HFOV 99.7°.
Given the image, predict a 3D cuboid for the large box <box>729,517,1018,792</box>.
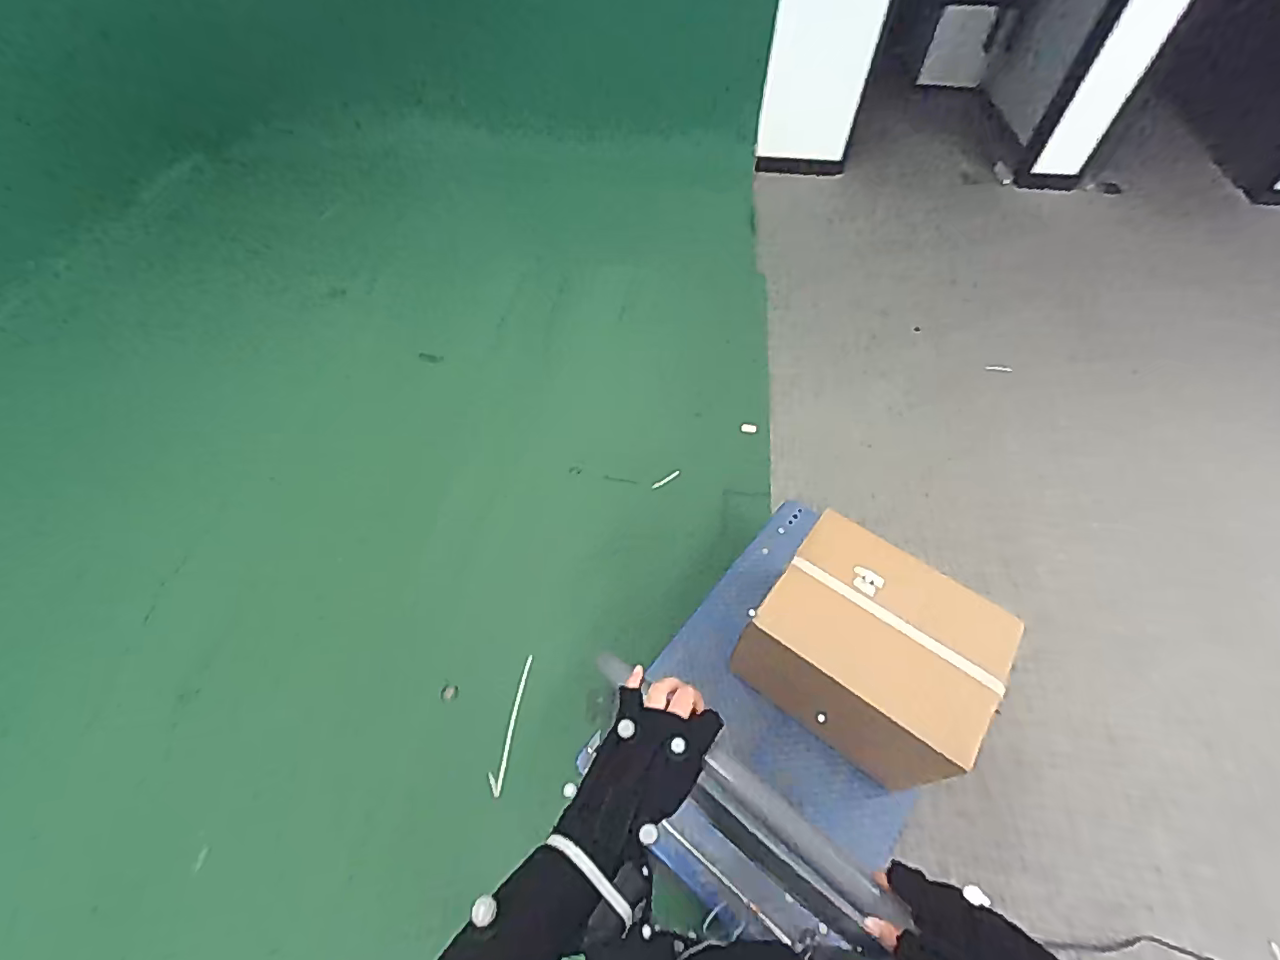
[{"bbox_3d":[0.444,0.355,1.106,0.408,0.320,0.320,32,60,22],"label":"large box"}]
